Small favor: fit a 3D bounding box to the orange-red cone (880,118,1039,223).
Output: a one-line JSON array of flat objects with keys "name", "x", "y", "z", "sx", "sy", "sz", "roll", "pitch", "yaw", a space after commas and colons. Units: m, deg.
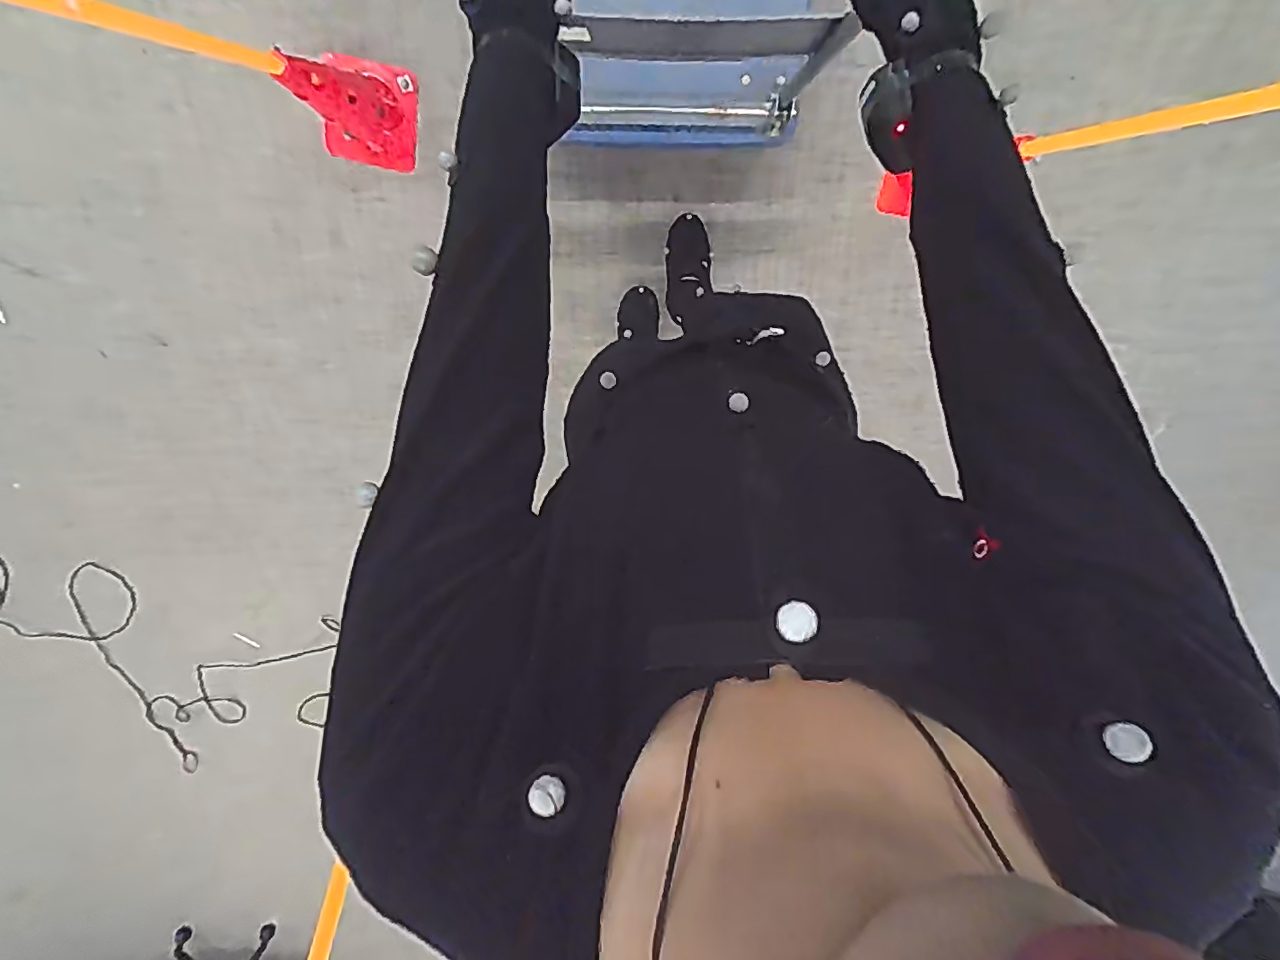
[{"name": "orange-red cone", "x": 0.690, "y": -0.660, "z": 1.120, "sx": 0.198, "sy": 0.360, "sz": 0.199, "roll": 9, "pitch": 113, "yaw": -5}]
